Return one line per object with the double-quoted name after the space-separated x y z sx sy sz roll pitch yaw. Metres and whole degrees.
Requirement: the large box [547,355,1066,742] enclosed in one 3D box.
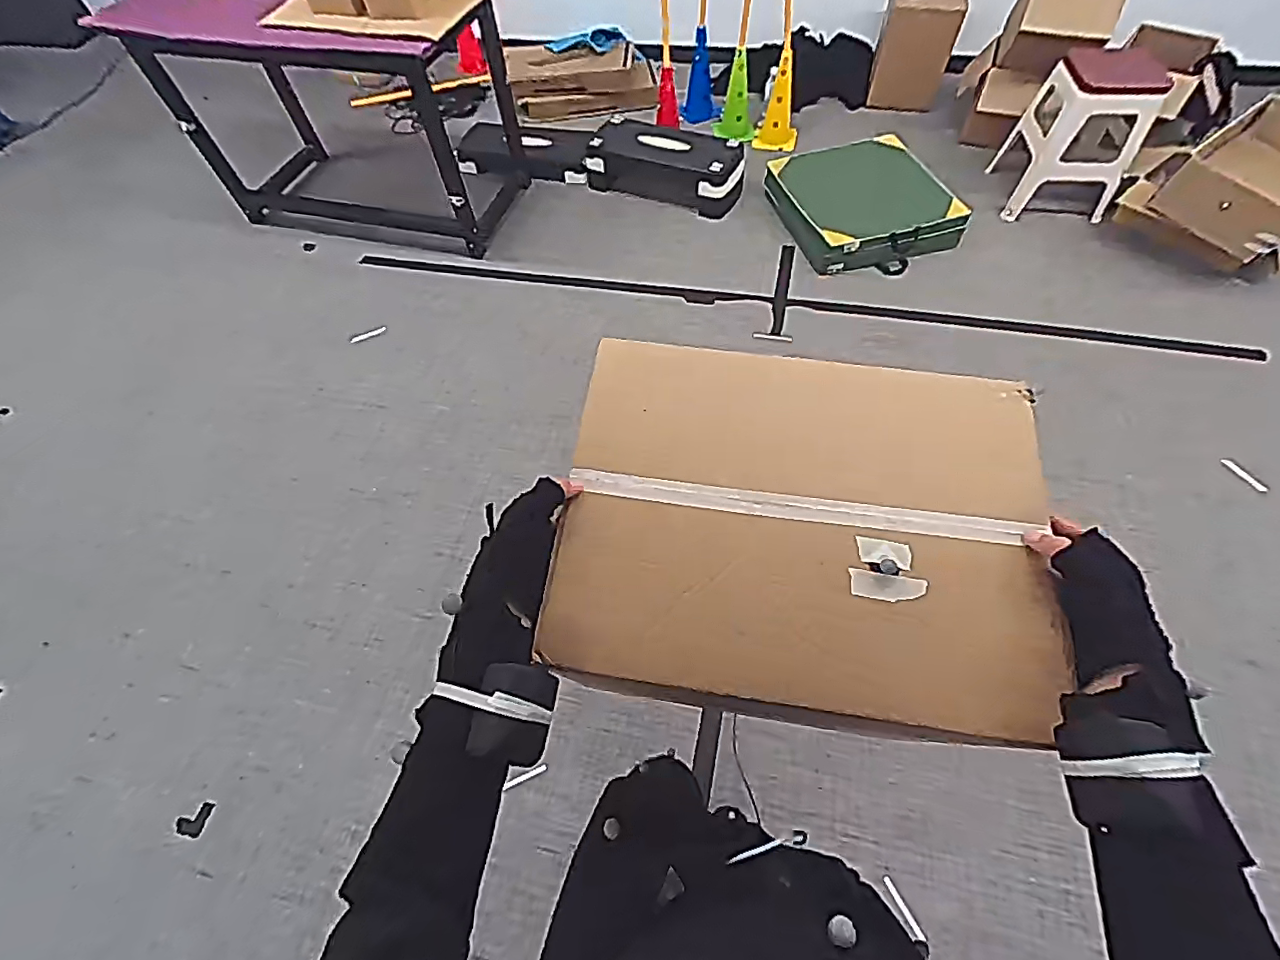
0.142 0.093 0.607 0.408 0.320 0.320 7 67 4 "large box"
